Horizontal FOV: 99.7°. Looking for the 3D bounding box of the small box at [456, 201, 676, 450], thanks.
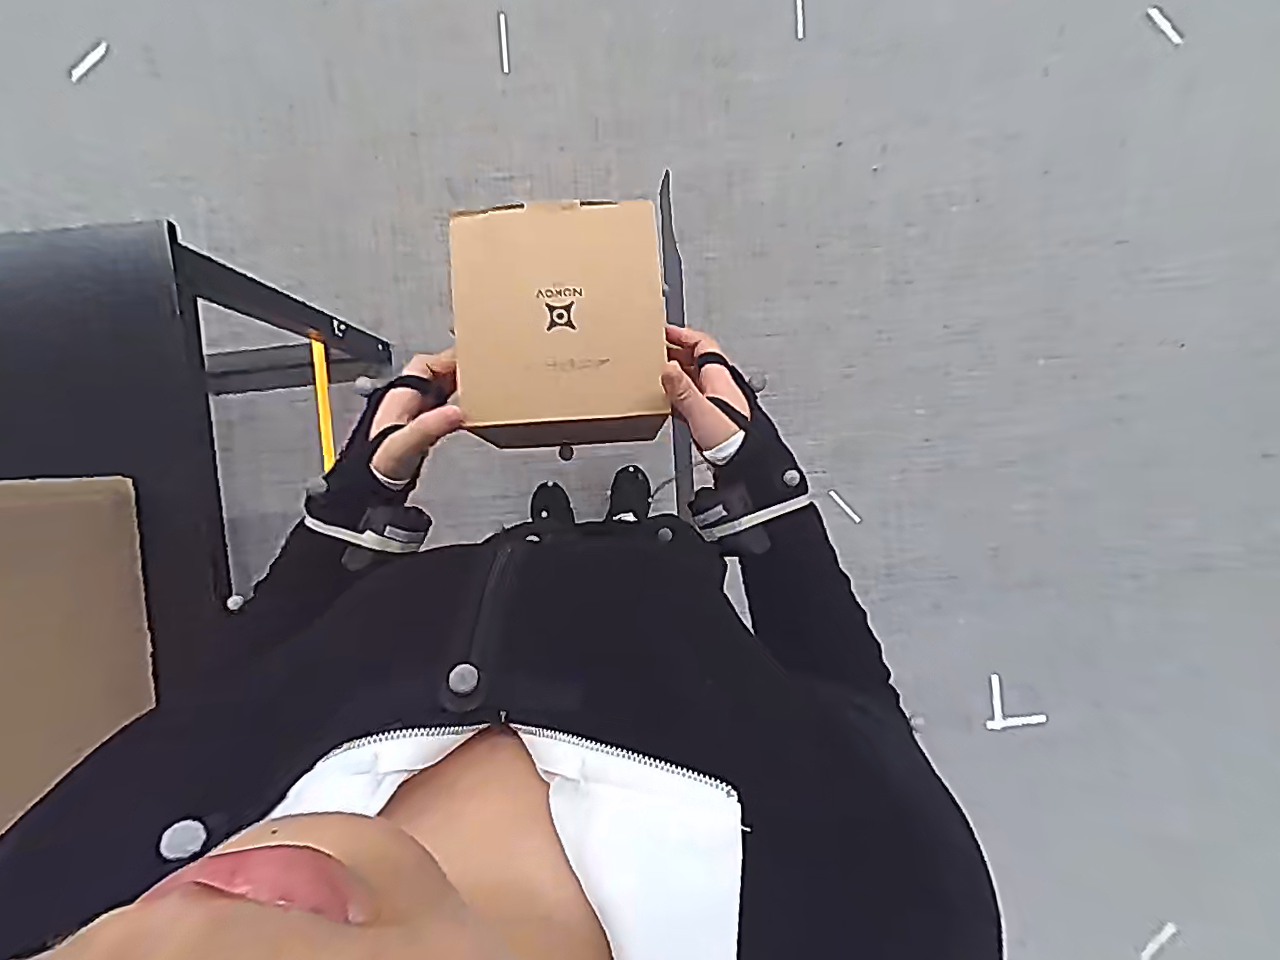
[{"bbox_3d":[-0.063,-0.128,0.504,0.168,0.176,0.179,-5,88,-3],"label":"small box"}]
